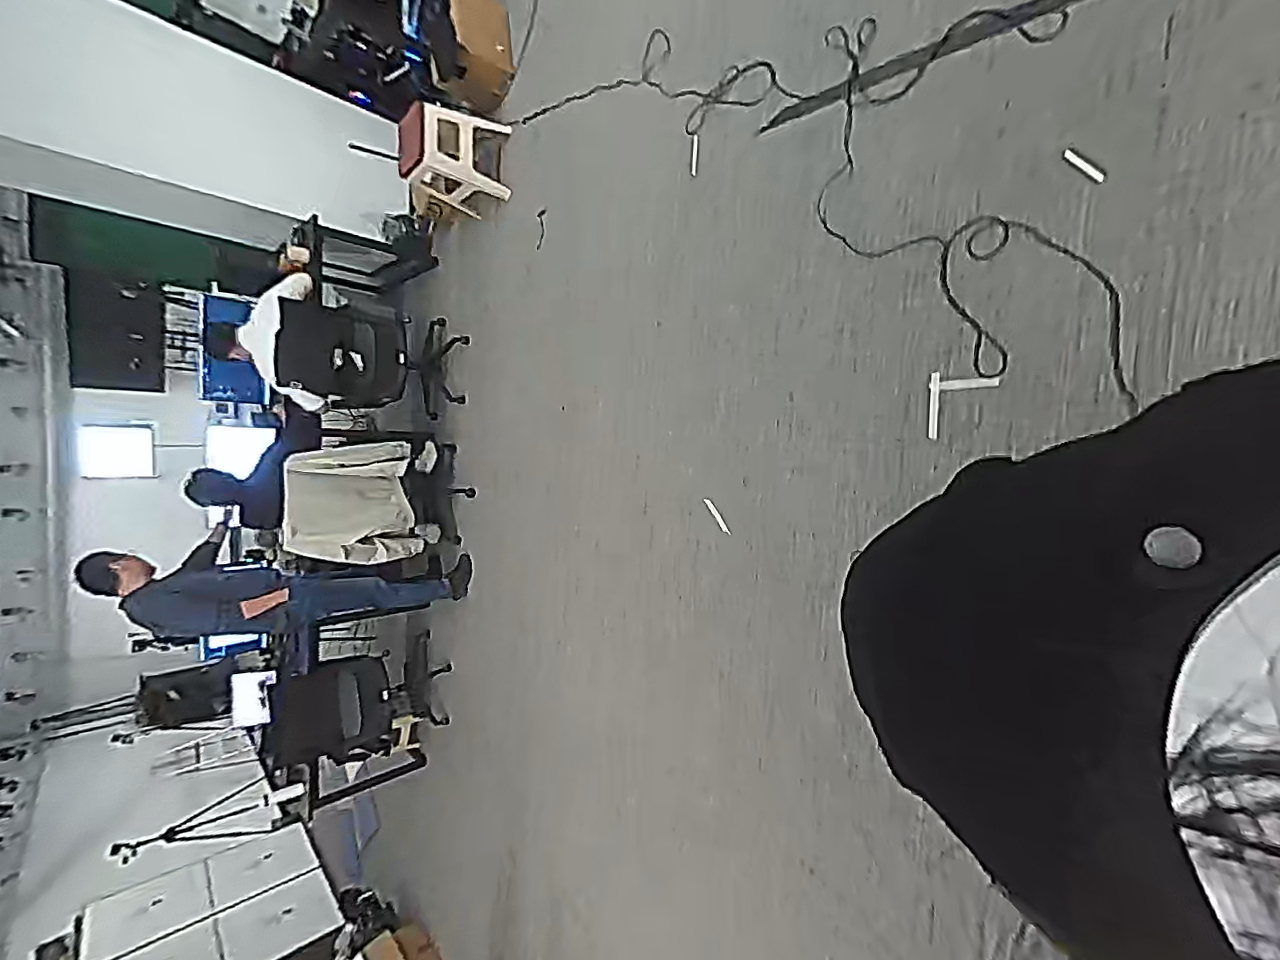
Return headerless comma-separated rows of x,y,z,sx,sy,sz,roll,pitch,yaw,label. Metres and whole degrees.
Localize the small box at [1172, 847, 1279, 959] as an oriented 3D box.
0.748,0.592,0.638,0.168,0.176,0.179,5,92,45,small box
